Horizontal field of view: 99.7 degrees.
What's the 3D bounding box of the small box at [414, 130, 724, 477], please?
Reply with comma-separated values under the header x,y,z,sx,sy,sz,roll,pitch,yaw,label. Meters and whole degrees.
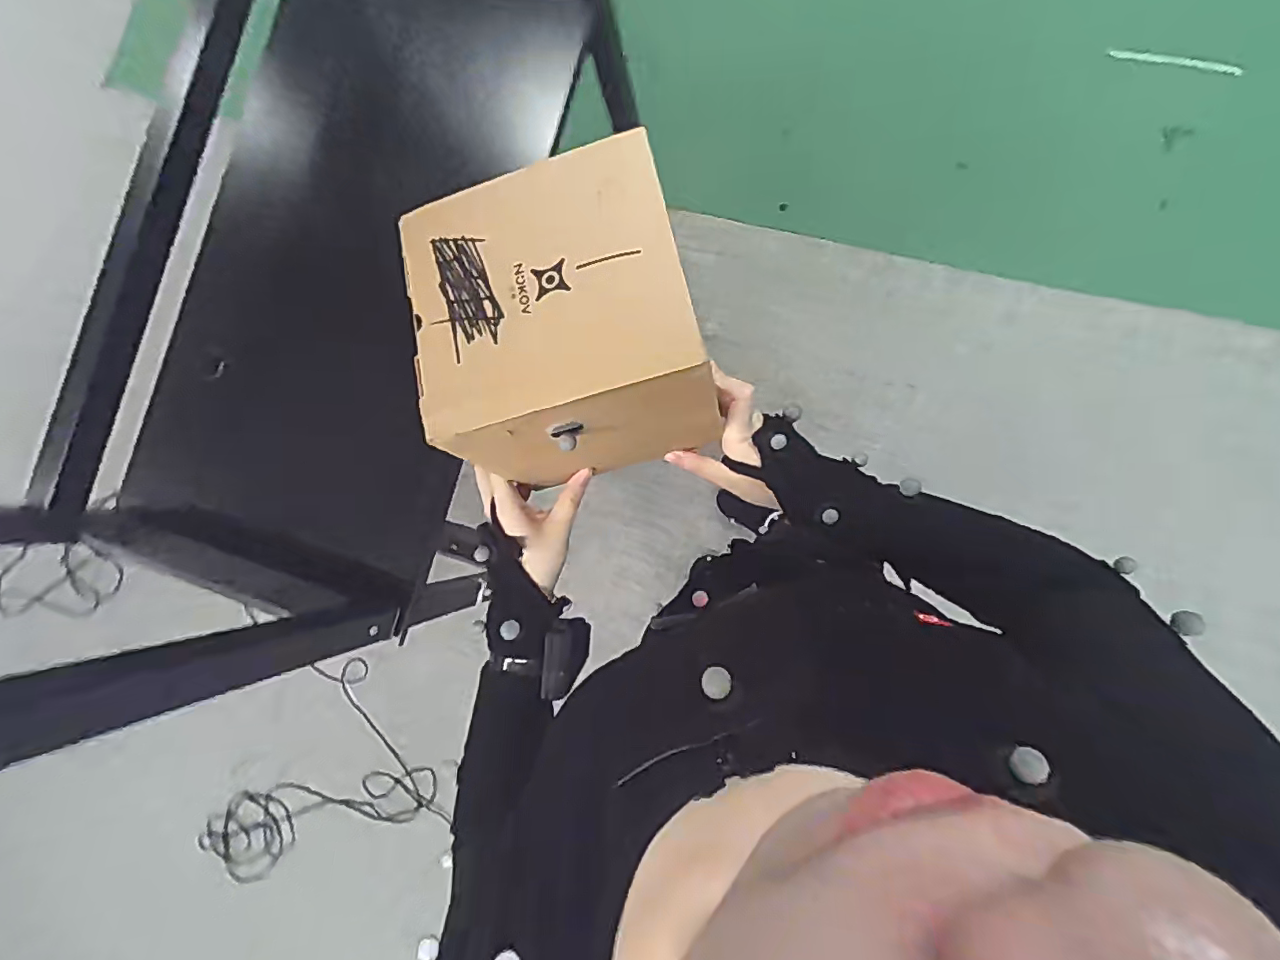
x,y,z,sx,sy,sz,roll,pitch,yaw,label
-0.041,-0.110,0.413,0.179,0.176,0.168,-14,76,8,small box
